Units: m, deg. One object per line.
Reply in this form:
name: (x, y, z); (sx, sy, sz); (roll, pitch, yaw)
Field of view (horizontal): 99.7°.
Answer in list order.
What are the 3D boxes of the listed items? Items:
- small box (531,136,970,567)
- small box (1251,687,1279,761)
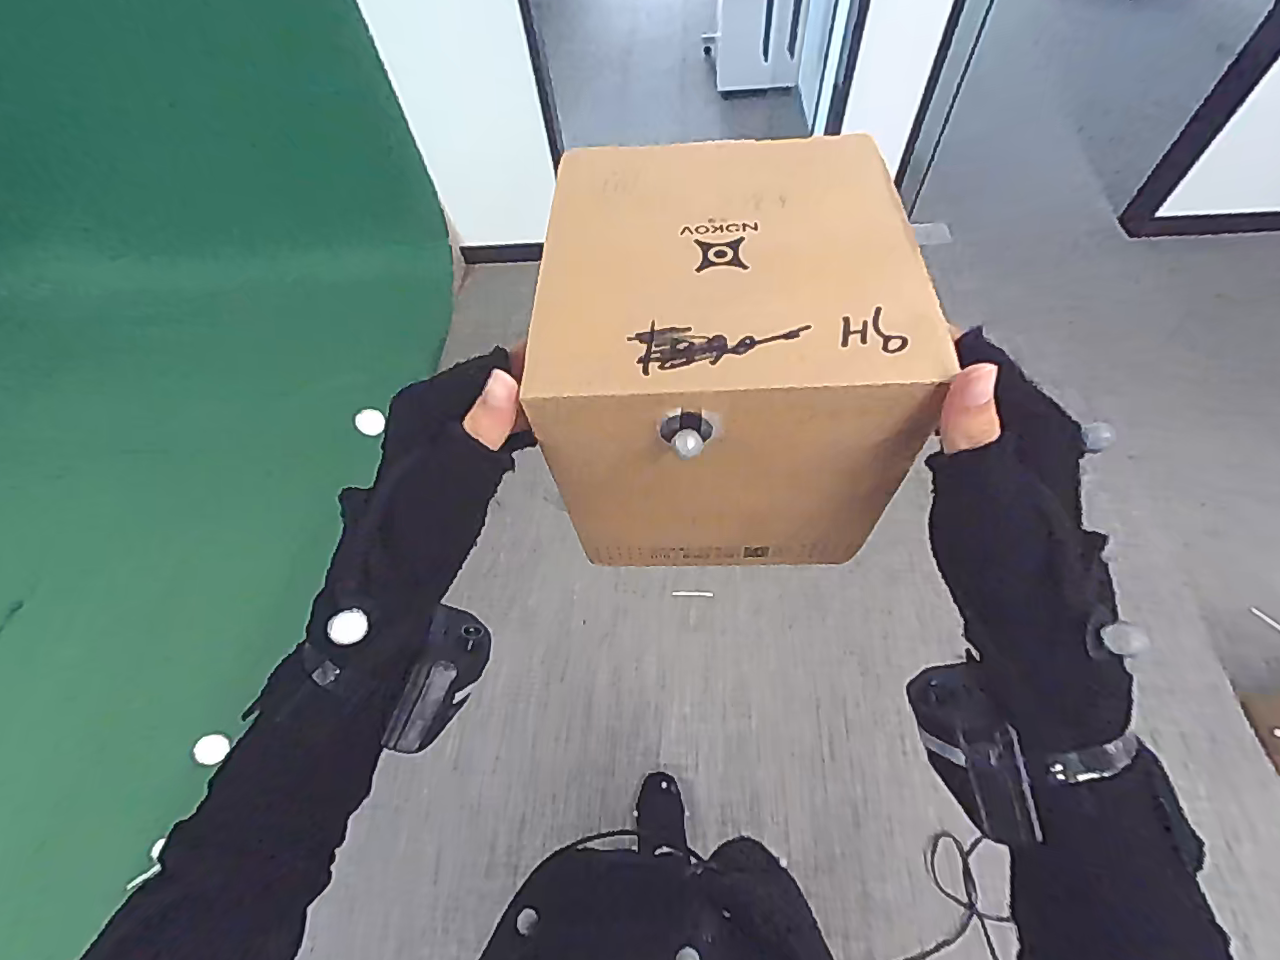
small box: (0.048, -0.065, 0.313); (0.168, 0.176, 0.179); (-1, 58, 5)
small box: (1.469, 0.516, 1.122); (0.179, 0.176, 0.168); (0, 59, 6)
